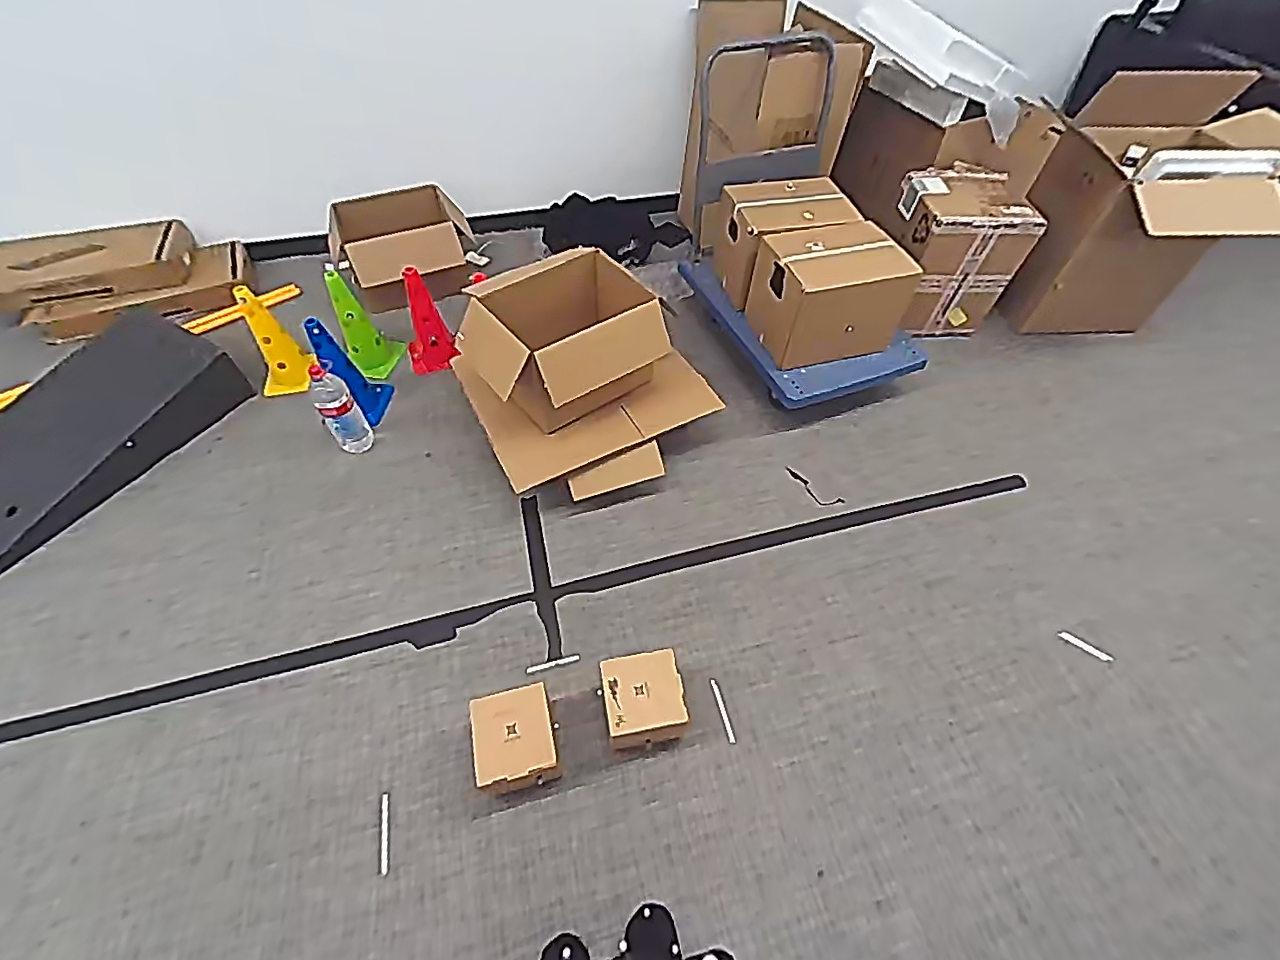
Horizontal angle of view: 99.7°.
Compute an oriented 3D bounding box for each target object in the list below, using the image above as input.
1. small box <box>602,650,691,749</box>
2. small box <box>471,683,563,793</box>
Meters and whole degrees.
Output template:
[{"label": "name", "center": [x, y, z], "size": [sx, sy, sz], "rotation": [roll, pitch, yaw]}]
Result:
[{"label": "small box", "center": [0.008, 0.517, 1.267], "size": [0.179, 0.176, 0.168], "rotation": [-7, 55, -9]}, {"label": "small box", "center": [-0.270, 0.582, 1.208], "size": [0.168, 0.176, 0.179], "rotation": [-11, 55, -12]}]
